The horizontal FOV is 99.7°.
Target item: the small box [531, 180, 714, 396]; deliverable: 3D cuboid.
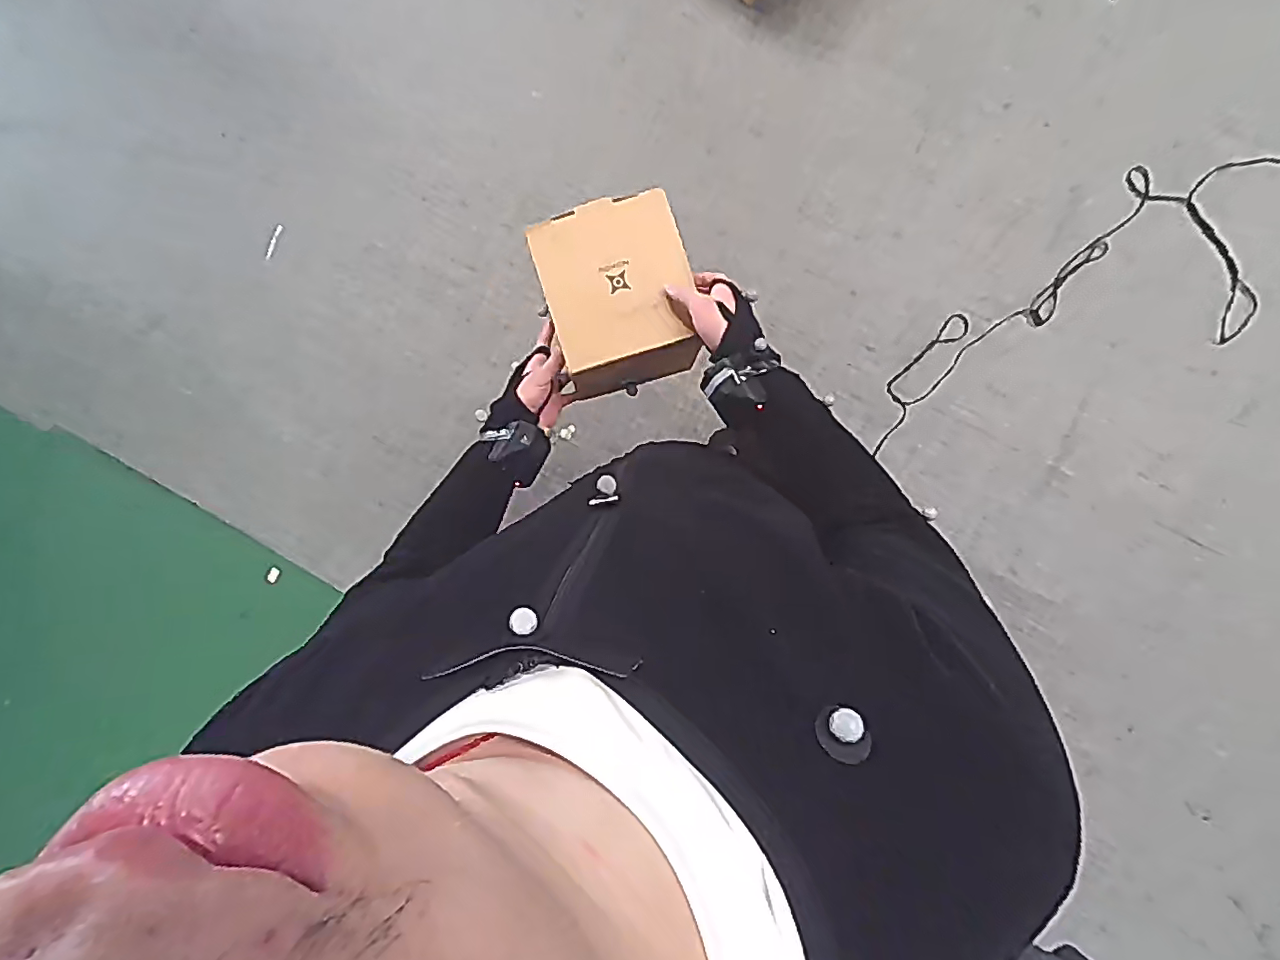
[{"bbox_3d":[-0.022,-0.219,0.659,0.168,0.176,0.179,-15,88,-1],"label":"small box"}]
